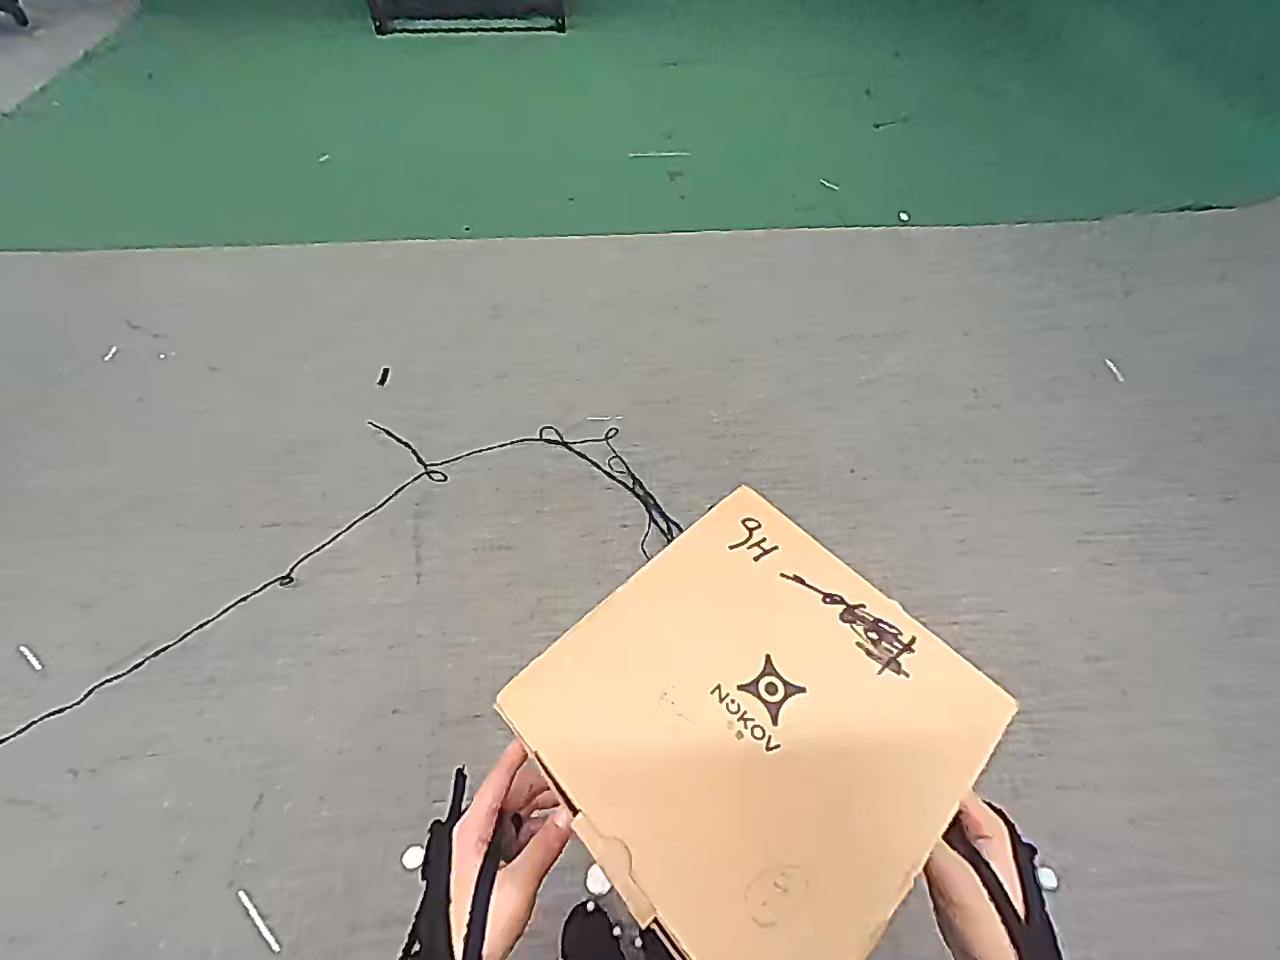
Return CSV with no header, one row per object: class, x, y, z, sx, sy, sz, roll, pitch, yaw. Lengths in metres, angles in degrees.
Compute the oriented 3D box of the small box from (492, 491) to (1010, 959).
small box,0.050,0.147,0.307,0.179,0.176,0.168,-37,63,-23
